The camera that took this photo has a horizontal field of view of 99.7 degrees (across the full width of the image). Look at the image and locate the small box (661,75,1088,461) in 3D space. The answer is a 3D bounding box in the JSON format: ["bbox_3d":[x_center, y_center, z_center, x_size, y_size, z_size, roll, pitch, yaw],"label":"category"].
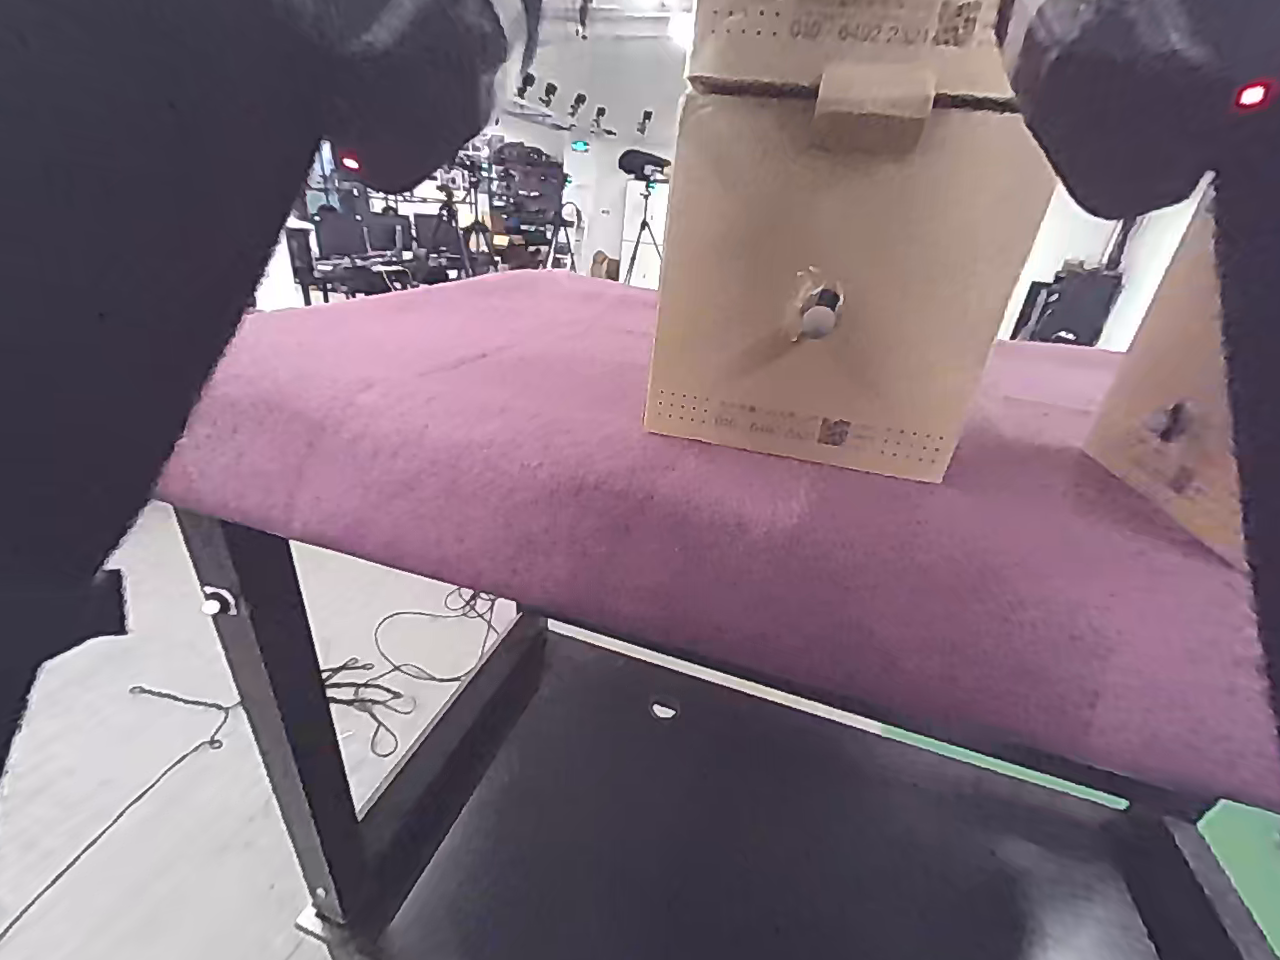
[{"bbox_3d":[0.113,-0.126,0.334,0.168,0.176,0.179,12,27,10],"label":"small box"}]

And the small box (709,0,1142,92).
[{"bbox_3d":[0.129,-0.269,0.257,0.168,0.176,0.179,10,25,8],"label":"small box"}]
